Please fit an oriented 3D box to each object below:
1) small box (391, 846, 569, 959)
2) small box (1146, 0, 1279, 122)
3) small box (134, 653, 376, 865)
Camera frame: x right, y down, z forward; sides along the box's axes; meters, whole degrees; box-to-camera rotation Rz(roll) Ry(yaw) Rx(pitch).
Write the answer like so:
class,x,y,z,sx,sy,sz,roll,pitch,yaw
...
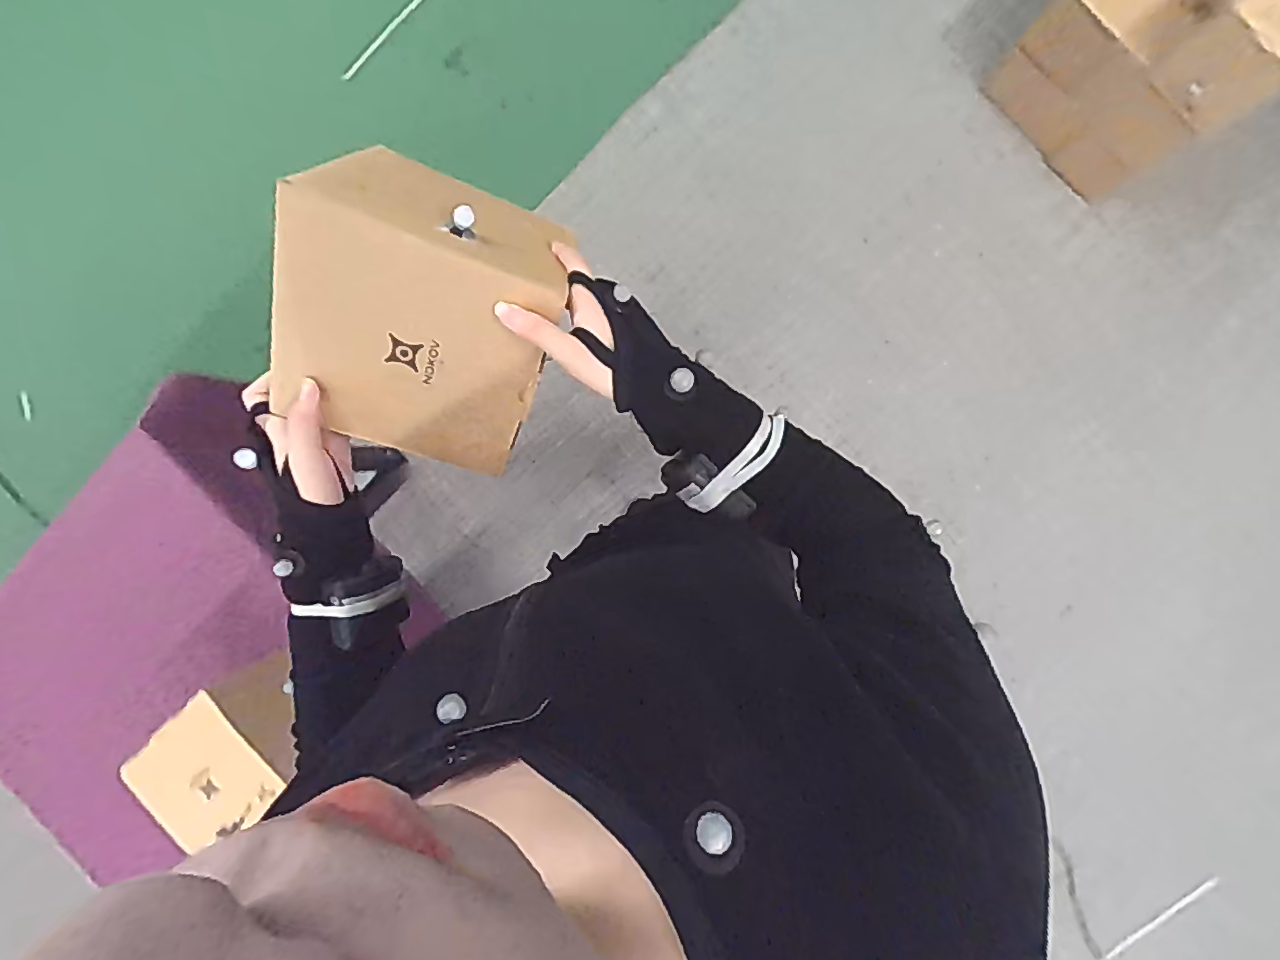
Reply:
class,x,y,z,sx,sy,sz,roll,pitch,yaw
small box,-0.221,0.662,0.740,0.168,0.176,0.179,-42,88,5
small box,1.089,-0.804,0.968,0.179,0.176,0.168,-40,89,5
small box,-0.520,0.366,0.754,0.168,0.176,0.179,-43,88,6
